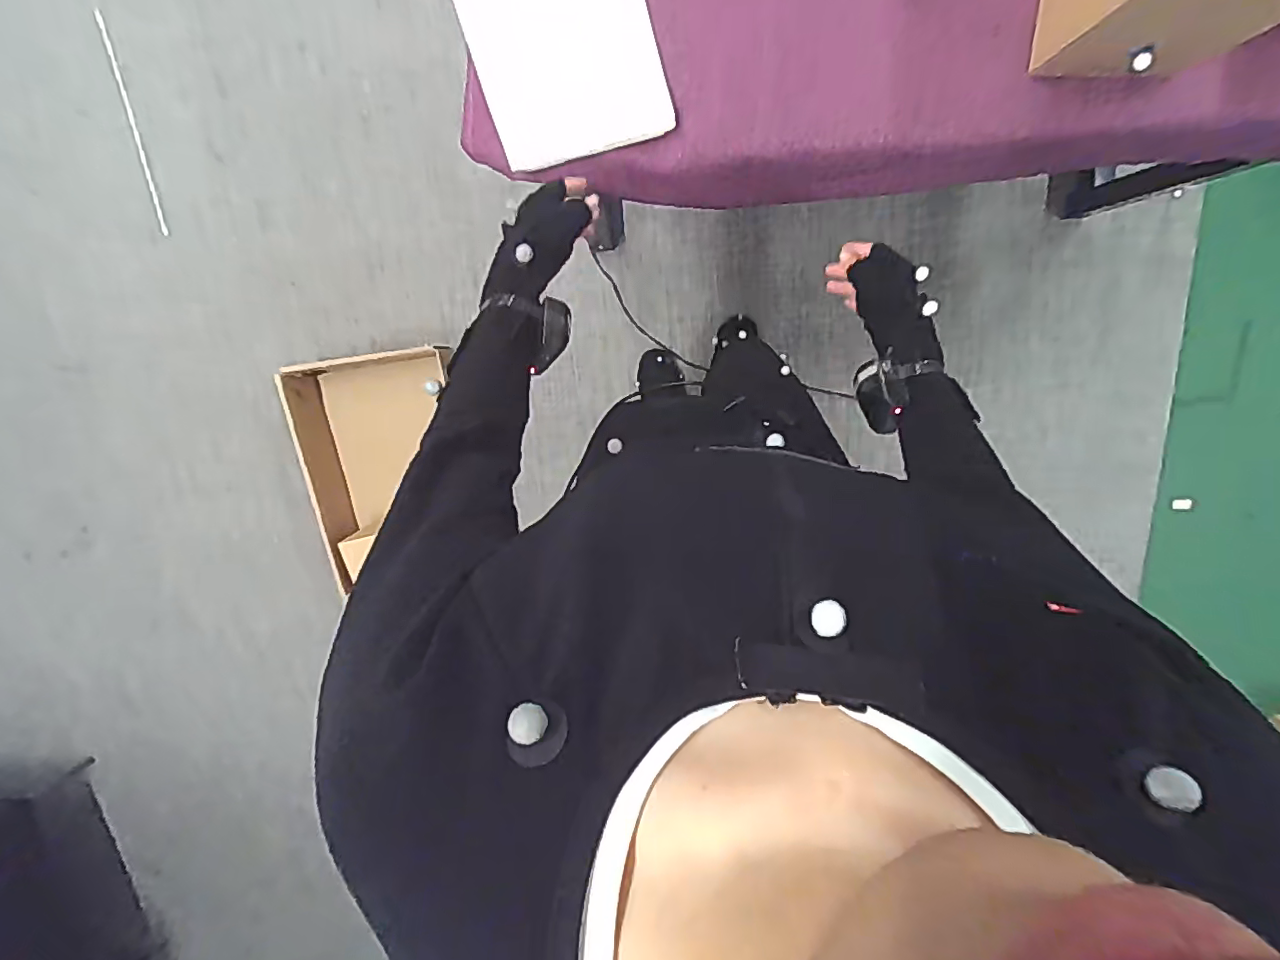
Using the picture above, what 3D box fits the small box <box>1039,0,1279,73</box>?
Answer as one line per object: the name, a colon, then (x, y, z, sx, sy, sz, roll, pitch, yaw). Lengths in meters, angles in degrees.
small box: (0.511, -0.514, 0.494, 0.168, 0.176, 0.179, 1, 104, 2)
